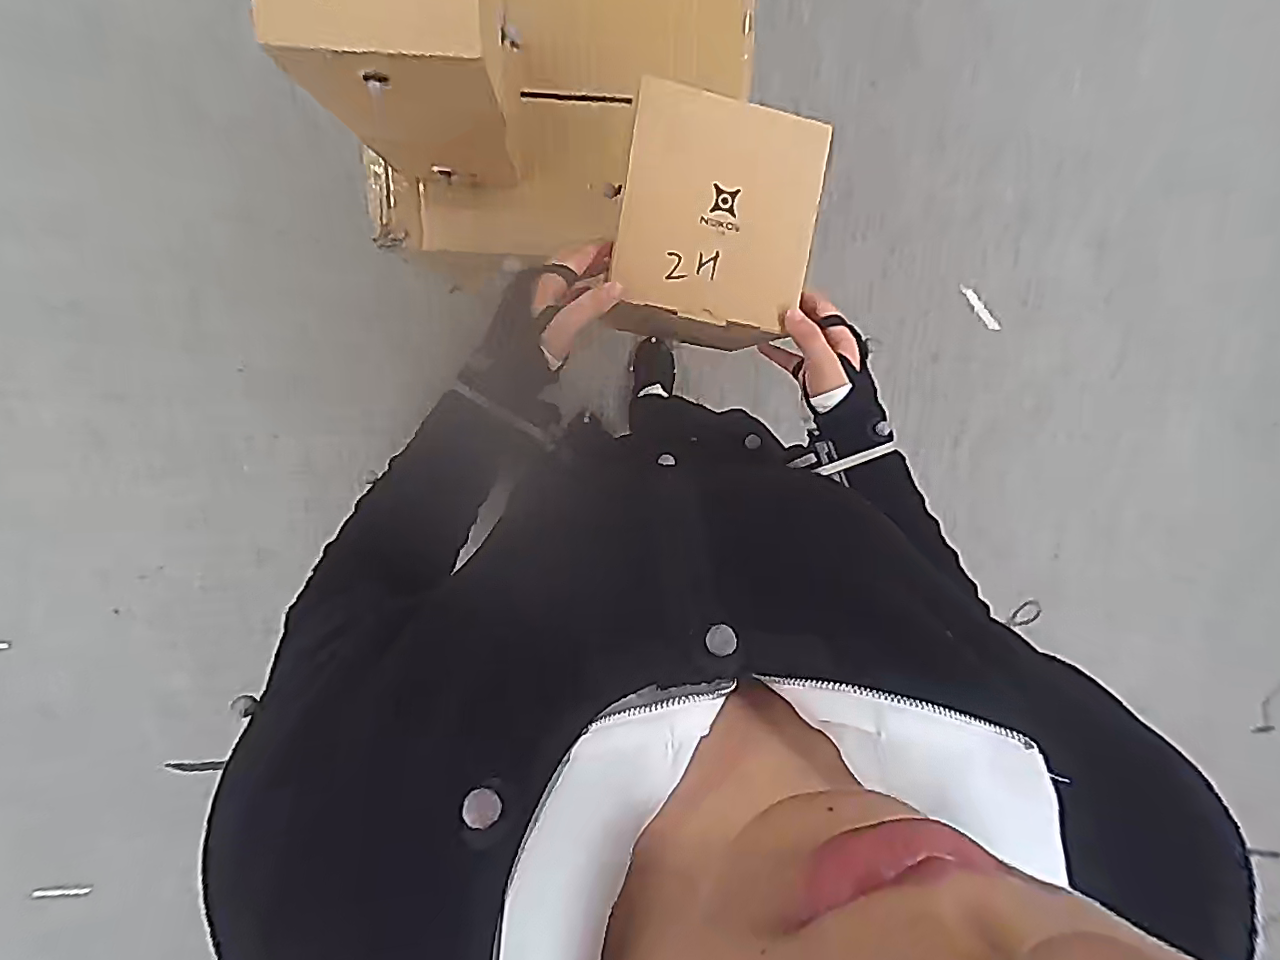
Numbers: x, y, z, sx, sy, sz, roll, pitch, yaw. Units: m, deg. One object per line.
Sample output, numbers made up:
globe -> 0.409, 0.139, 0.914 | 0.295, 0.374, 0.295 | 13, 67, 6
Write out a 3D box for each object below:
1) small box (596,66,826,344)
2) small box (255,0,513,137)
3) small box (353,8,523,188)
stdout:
small box -> 0.053, -0.242, 0.527 | 0.168, 0.176, 0.179 | 8, 96, -10
small box -> -0.221, -0.438, 0.497 | 0.179, 0.176, 0.168 | -1, 103, -5
small box -> -0.236, -0.477, 0.656 | 0.168, 0.176, 0.179 | 0, 104, -4
